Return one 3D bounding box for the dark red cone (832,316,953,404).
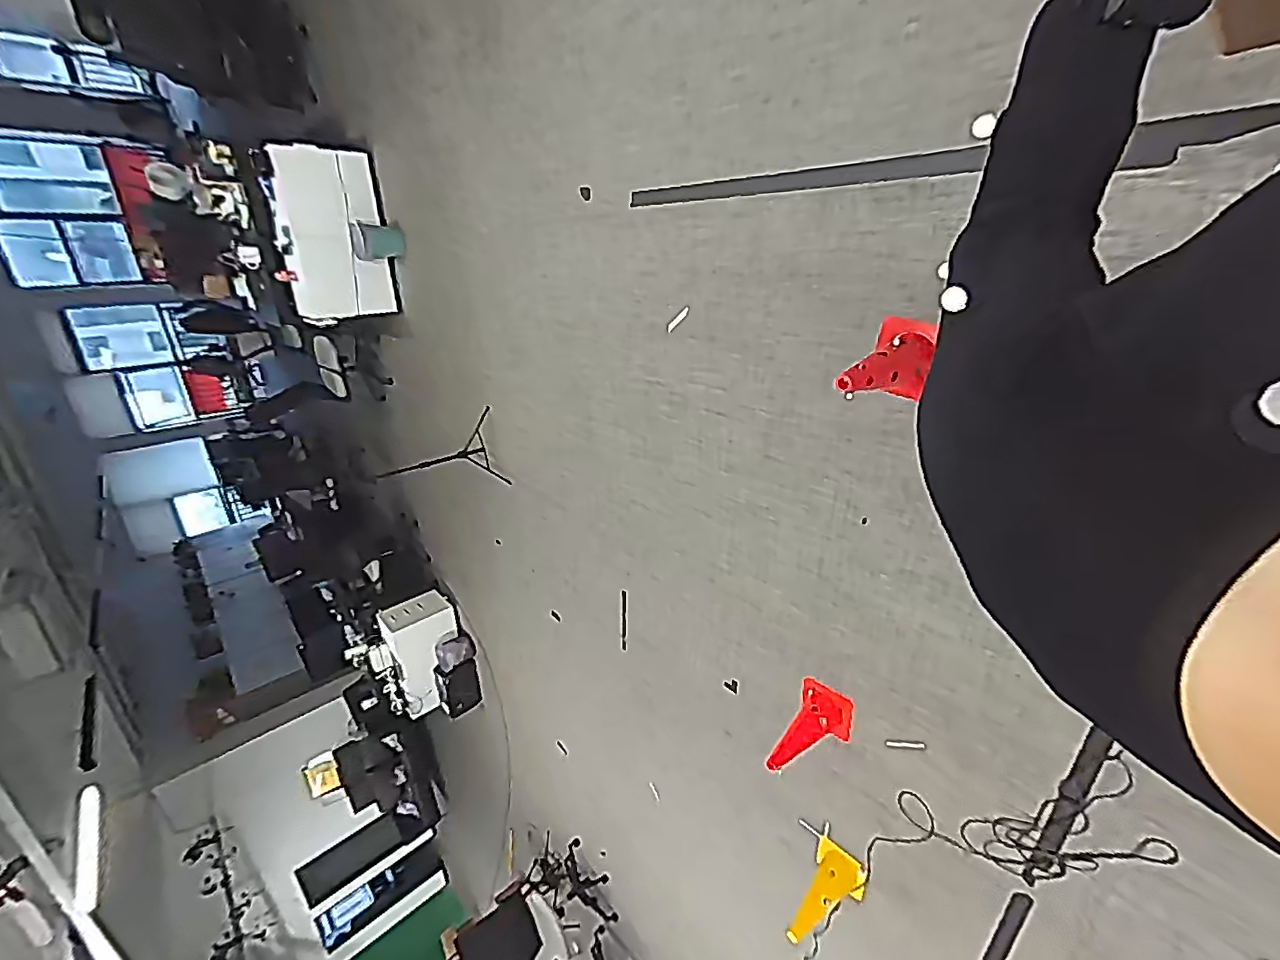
[{"bbox_3d":[0.575,-0.269,1.307,0.201,0.394,0.202,28,127,39],"label":"dark red cone"}]

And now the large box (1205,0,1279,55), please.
[{"bbox_3d":[0.552,-0.450,0.221,0.408,0.320,0.320,17,121,43],"label":"large box"}]

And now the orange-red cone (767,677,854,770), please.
[{"bbox_3d":[0.566,0.893,1.892,0.198,0.360,0.199,21,123,45],"label":"orange-red cone"}]
